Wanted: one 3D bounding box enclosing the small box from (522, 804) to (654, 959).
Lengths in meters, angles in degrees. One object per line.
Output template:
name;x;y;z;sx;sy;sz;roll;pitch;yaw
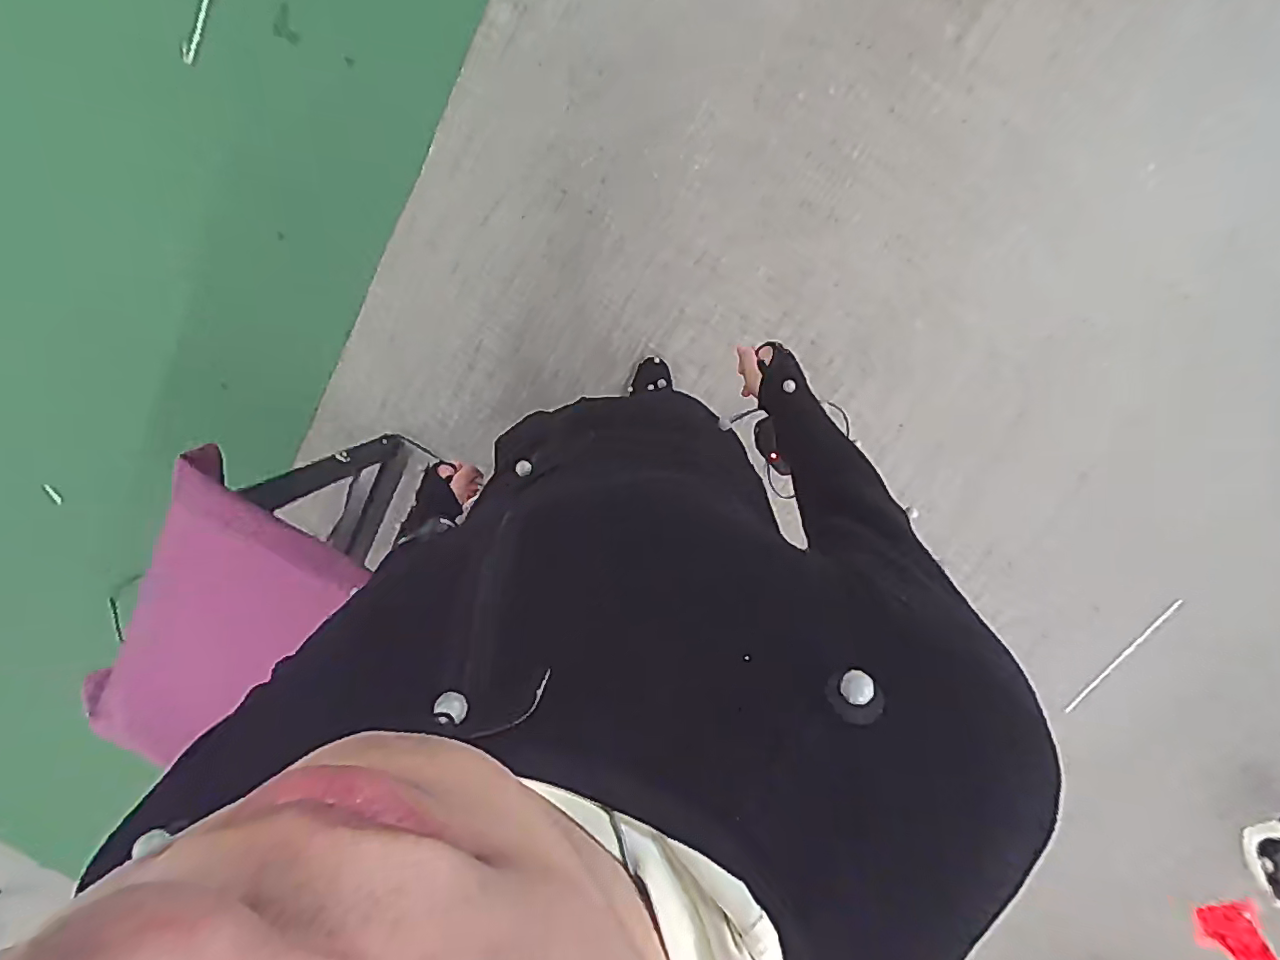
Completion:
small box;-0.089;0.756;1.019;0.179;0.176;0.168;32;106;-4
